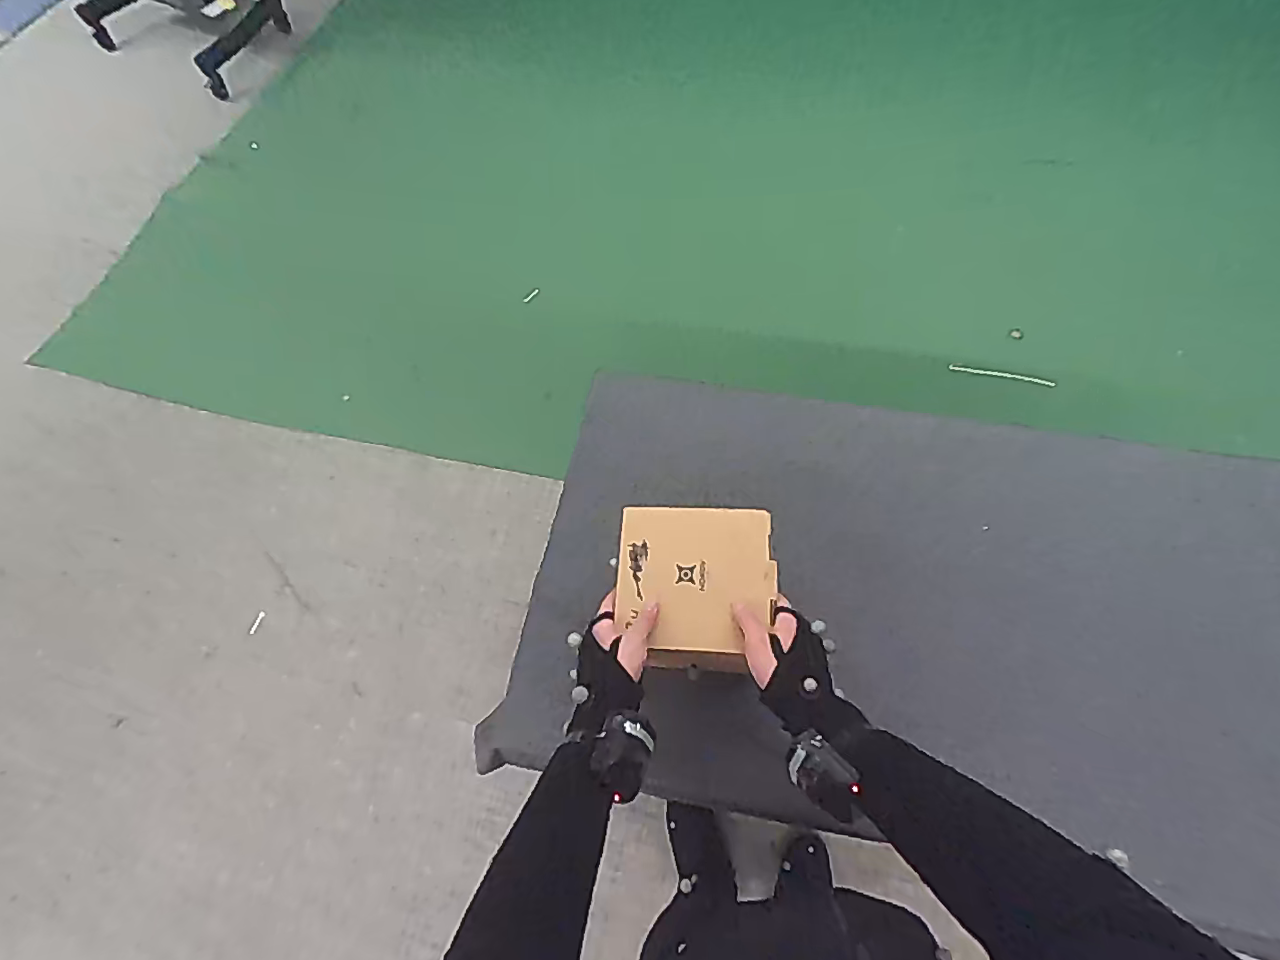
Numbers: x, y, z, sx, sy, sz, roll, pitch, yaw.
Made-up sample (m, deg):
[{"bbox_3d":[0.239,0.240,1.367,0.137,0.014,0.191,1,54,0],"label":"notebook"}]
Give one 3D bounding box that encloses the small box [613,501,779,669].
[{"bbox_3d":[0.070,0.137,0.673,0.179,0.176,0.168,3,65,6],"label":"small box"}]
